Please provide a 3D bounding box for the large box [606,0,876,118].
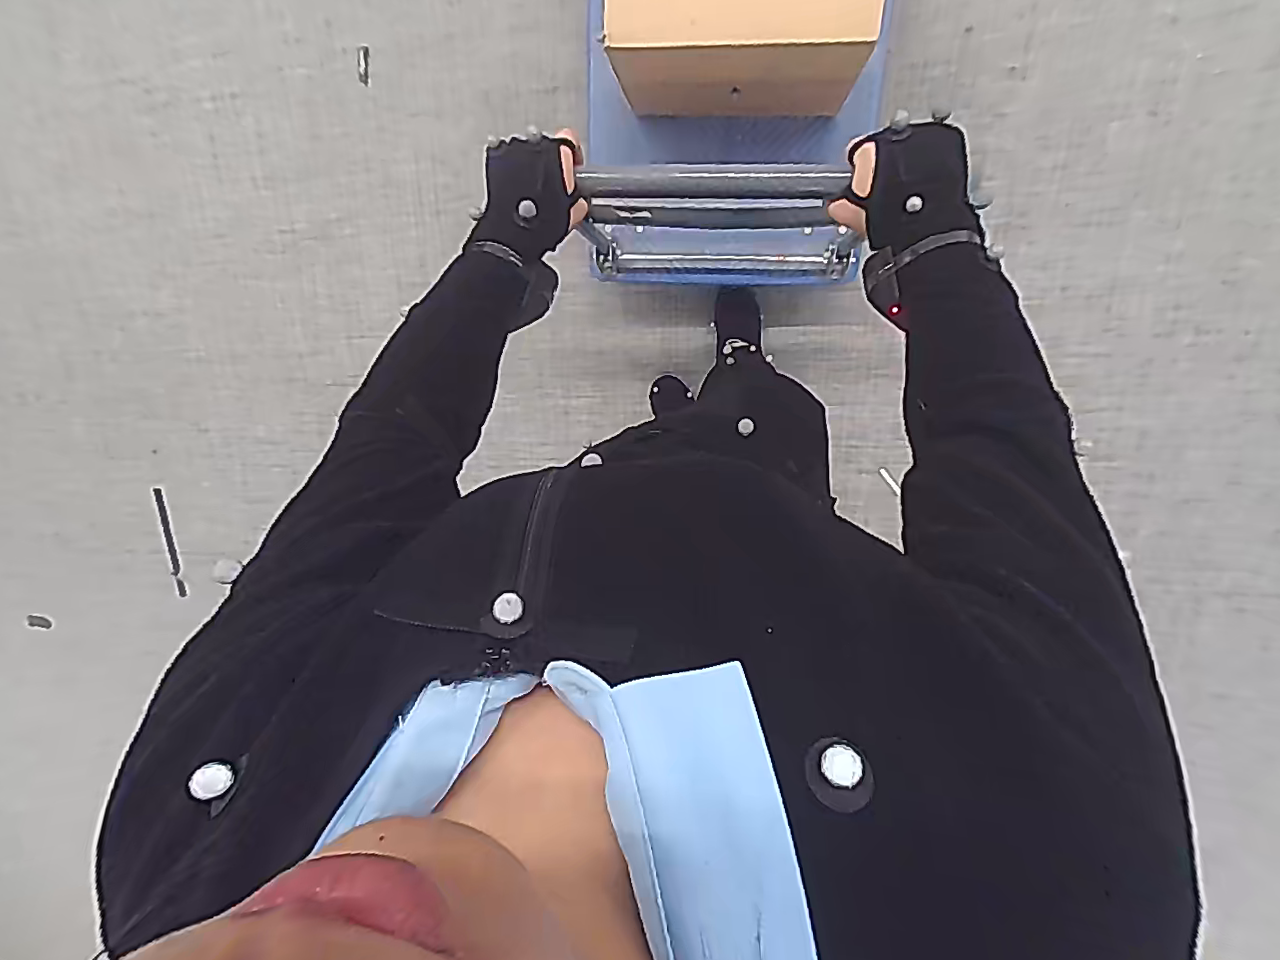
[{"bbox_3d":[0.172,-0.842,0.917,0.408,0.320,0.320,5,107,8],"label":"large box"}]
